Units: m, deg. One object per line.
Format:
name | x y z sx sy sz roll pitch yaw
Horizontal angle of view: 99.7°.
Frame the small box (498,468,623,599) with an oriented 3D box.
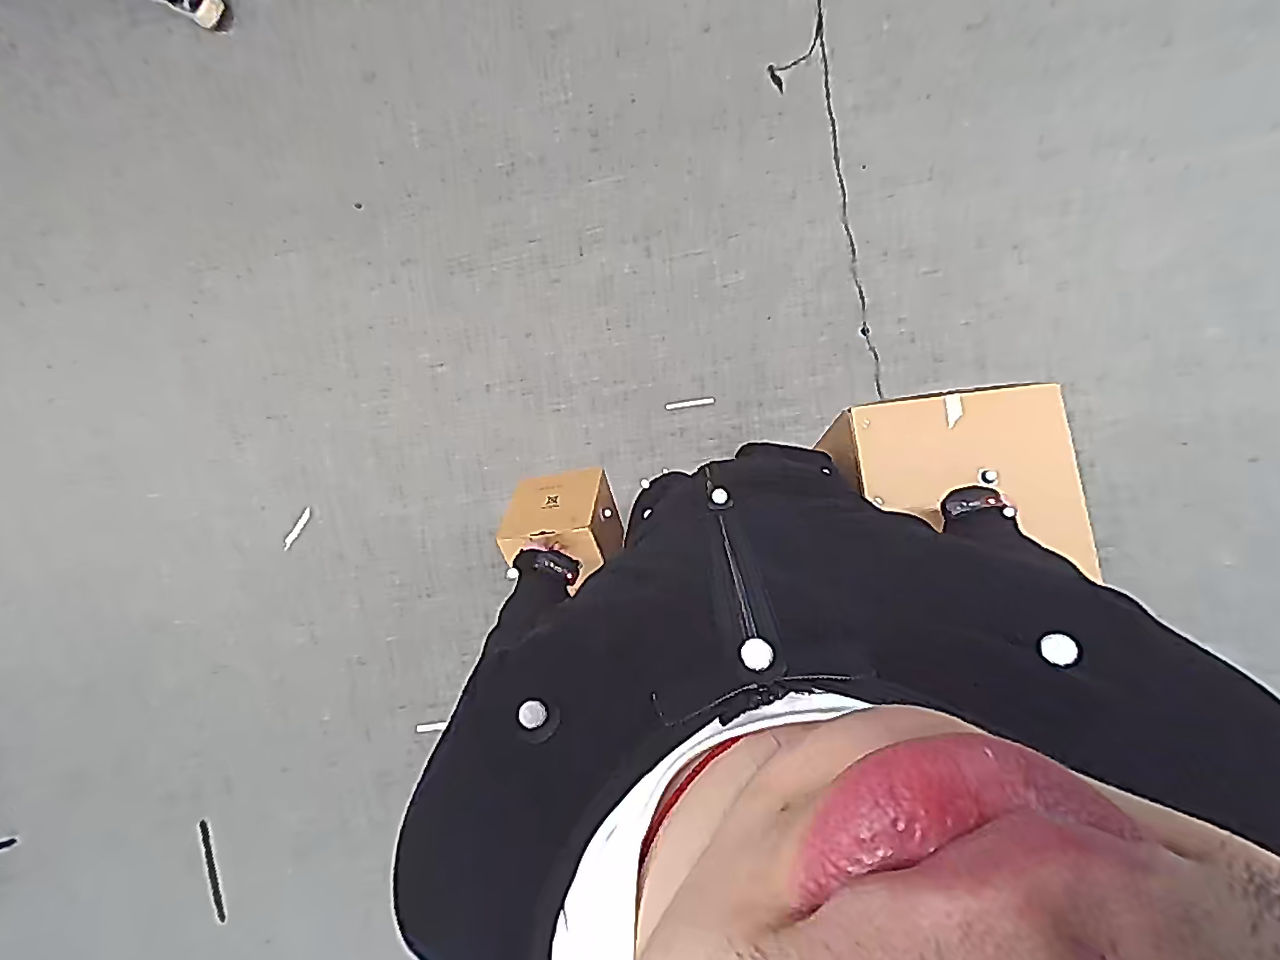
small box | -0.134 0.104 0.995 0.168 0.179 0.176 -8 124 11
